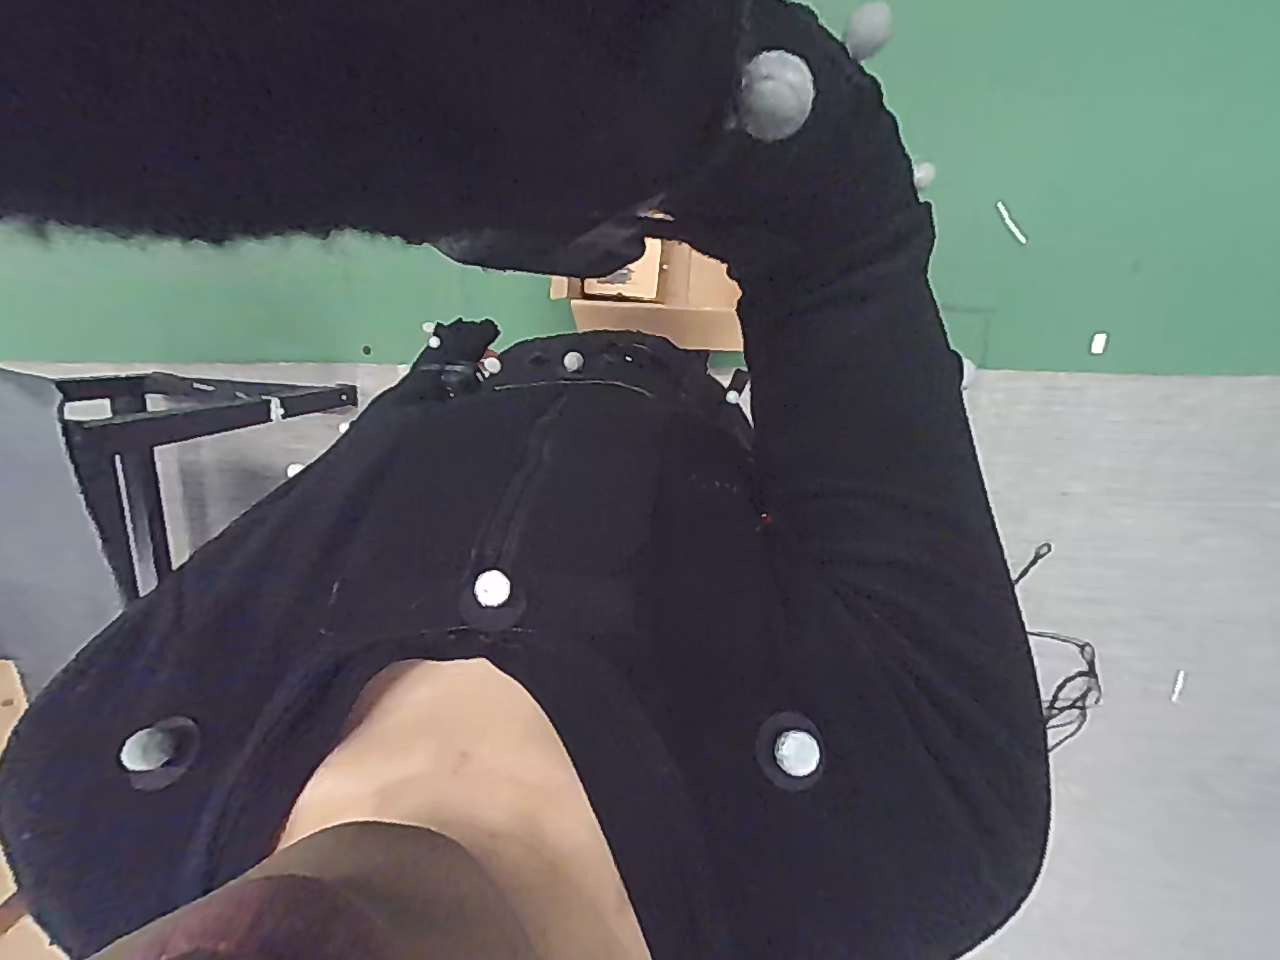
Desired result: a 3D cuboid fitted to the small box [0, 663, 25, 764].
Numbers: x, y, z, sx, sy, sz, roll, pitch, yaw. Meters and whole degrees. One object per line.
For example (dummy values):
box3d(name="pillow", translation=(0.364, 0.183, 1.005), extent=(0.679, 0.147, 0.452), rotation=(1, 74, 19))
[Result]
box3d(name="small box", translation=(-1.094, 0.382, 0.808), extent=(0.179, 0.176, 0.168), rotation=(1, 105, 3))
